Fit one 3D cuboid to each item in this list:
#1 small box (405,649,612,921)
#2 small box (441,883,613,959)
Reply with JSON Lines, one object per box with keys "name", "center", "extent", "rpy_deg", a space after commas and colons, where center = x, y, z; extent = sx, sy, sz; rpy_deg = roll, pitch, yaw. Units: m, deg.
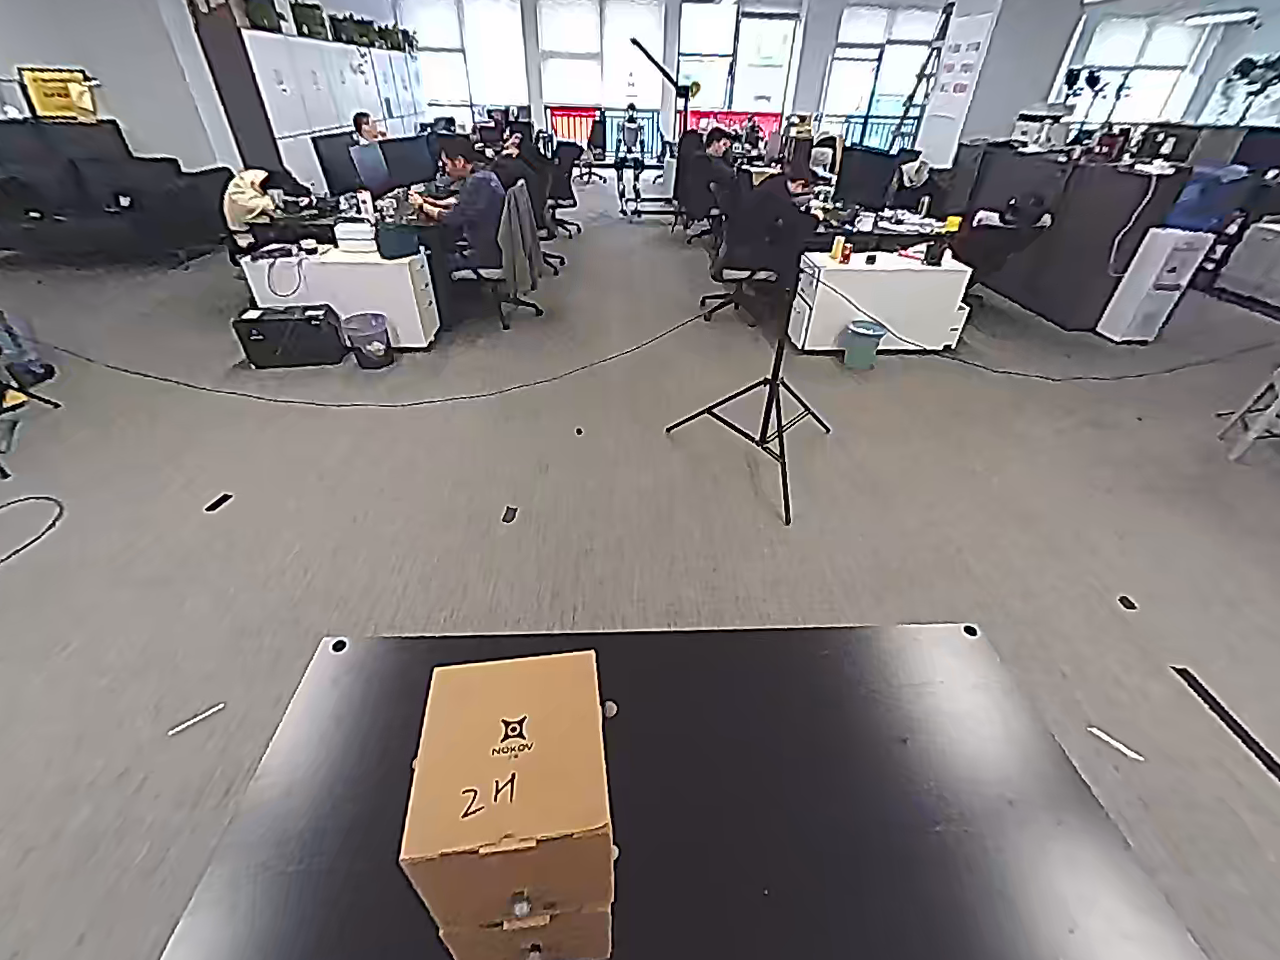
{"name": "small box", "center": [-0.118, 0.301, 0.547], "extent": [0.168, 0.176, 0.179], "rpy_deg": [-5, 36, -7]}
{"name": "small box", "center": [-0.121, 0.438, 0.641], "extent": [0.168, 0.176, 0.179], "rpy_deg": [-3, 36, -6]}
